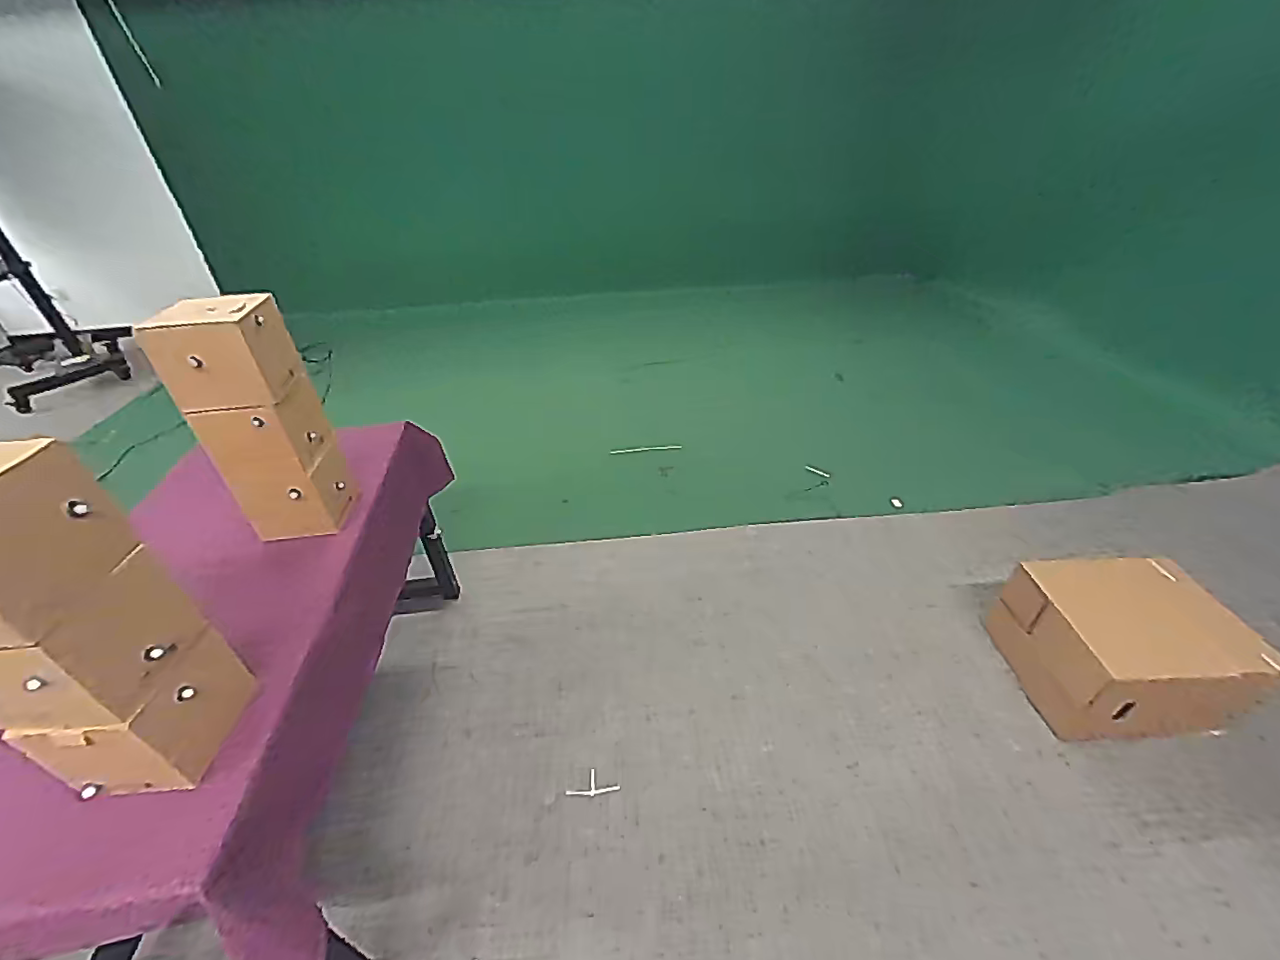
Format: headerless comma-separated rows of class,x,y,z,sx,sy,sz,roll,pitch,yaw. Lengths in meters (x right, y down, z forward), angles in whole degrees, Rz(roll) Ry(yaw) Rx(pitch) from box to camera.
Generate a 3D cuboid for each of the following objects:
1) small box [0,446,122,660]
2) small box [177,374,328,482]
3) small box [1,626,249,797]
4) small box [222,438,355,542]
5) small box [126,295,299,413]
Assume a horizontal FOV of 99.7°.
small box,-0.752,0.081,0.606,0.168,0.176,0.179,-5,37,0
small box,-0.805,-0.110,1.146,0.179,0.176,0.168,-5,37,-4
small box,-0.731,0.345,0.799,0.168,0.176,0.179,-5,36,-1
small box,-0.788,0.024,1.239,0.179,0.176,0.168,-6,36,-3
small box,-0.810,-0.242,1.048,0.179,0.176,0.168,-8,37,-6
